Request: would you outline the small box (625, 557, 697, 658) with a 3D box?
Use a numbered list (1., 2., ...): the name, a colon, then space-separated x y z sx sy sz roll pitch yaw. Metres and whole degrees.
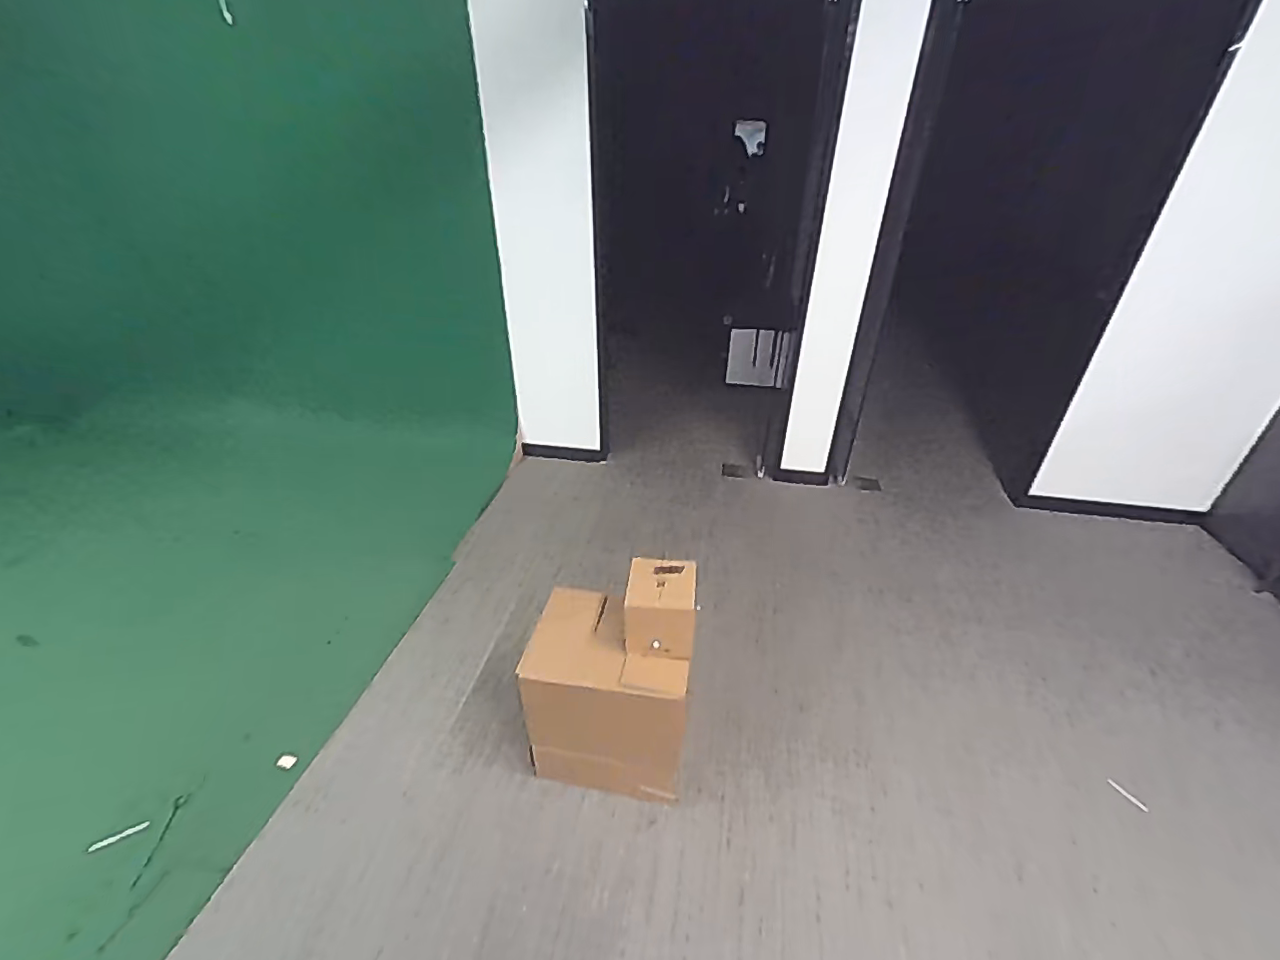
1. small box: 0.056 0.320 1.367 0.168 0.176 0.179 2 33 7
